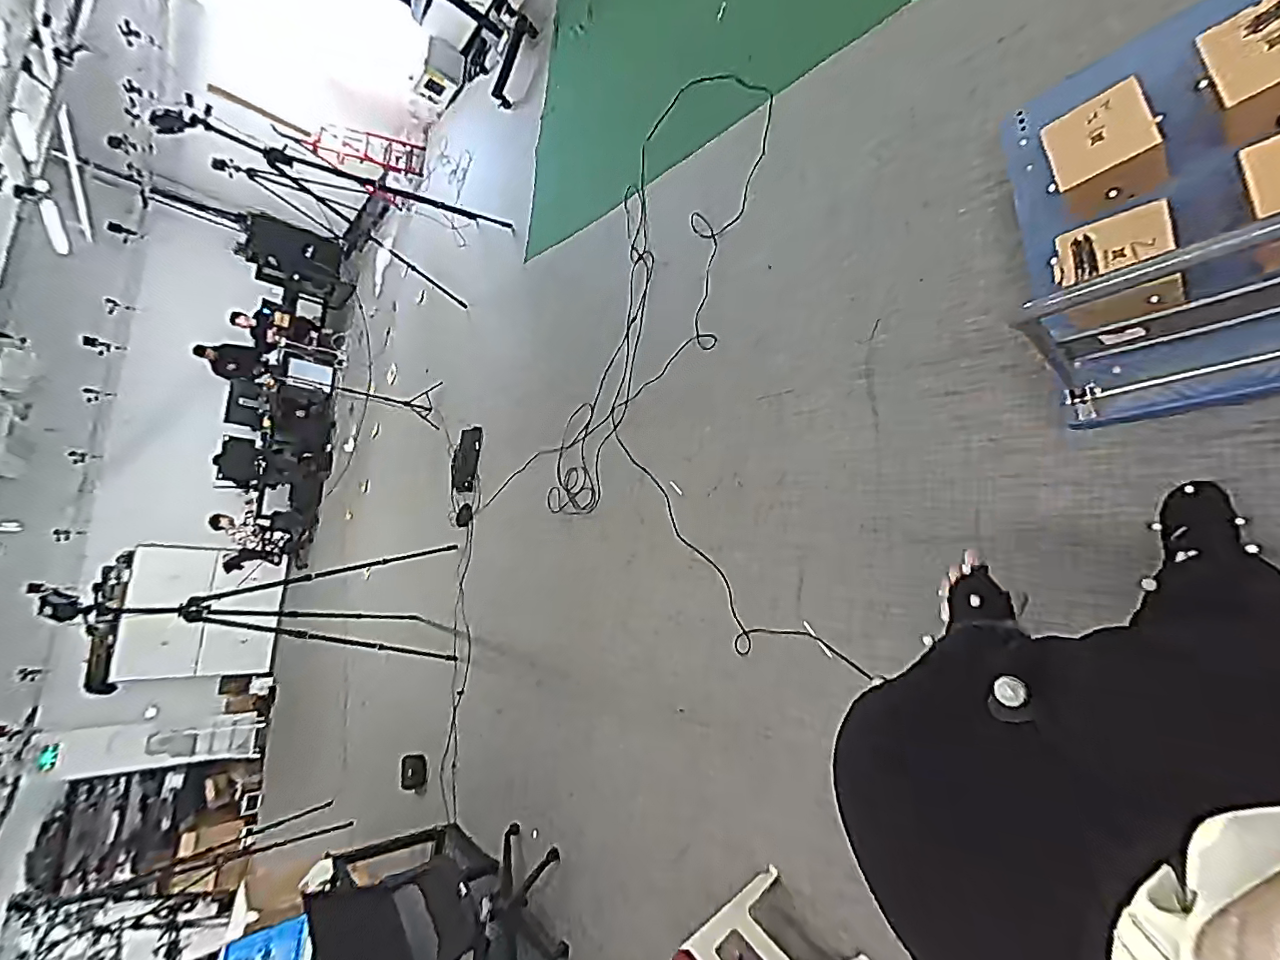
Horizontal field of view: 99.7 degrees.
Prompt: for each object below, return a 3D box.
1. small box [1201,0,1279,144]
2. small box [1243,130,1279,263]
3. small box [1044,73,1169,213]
[{"bbox_3d":[1.194,-0.785,1.013,0.168,0.176,0.179,-20,68,45],"label":"small box"},{"bbox_3d":[1.200,-0.521,0.951,0.168,0.176,0.179,-14,72,46],"label":"small box"},{"bbox_3d":[1.025,-0.722,1.189,0.168,0.176,0.179,-19,68,44],"label":"small box"}]
